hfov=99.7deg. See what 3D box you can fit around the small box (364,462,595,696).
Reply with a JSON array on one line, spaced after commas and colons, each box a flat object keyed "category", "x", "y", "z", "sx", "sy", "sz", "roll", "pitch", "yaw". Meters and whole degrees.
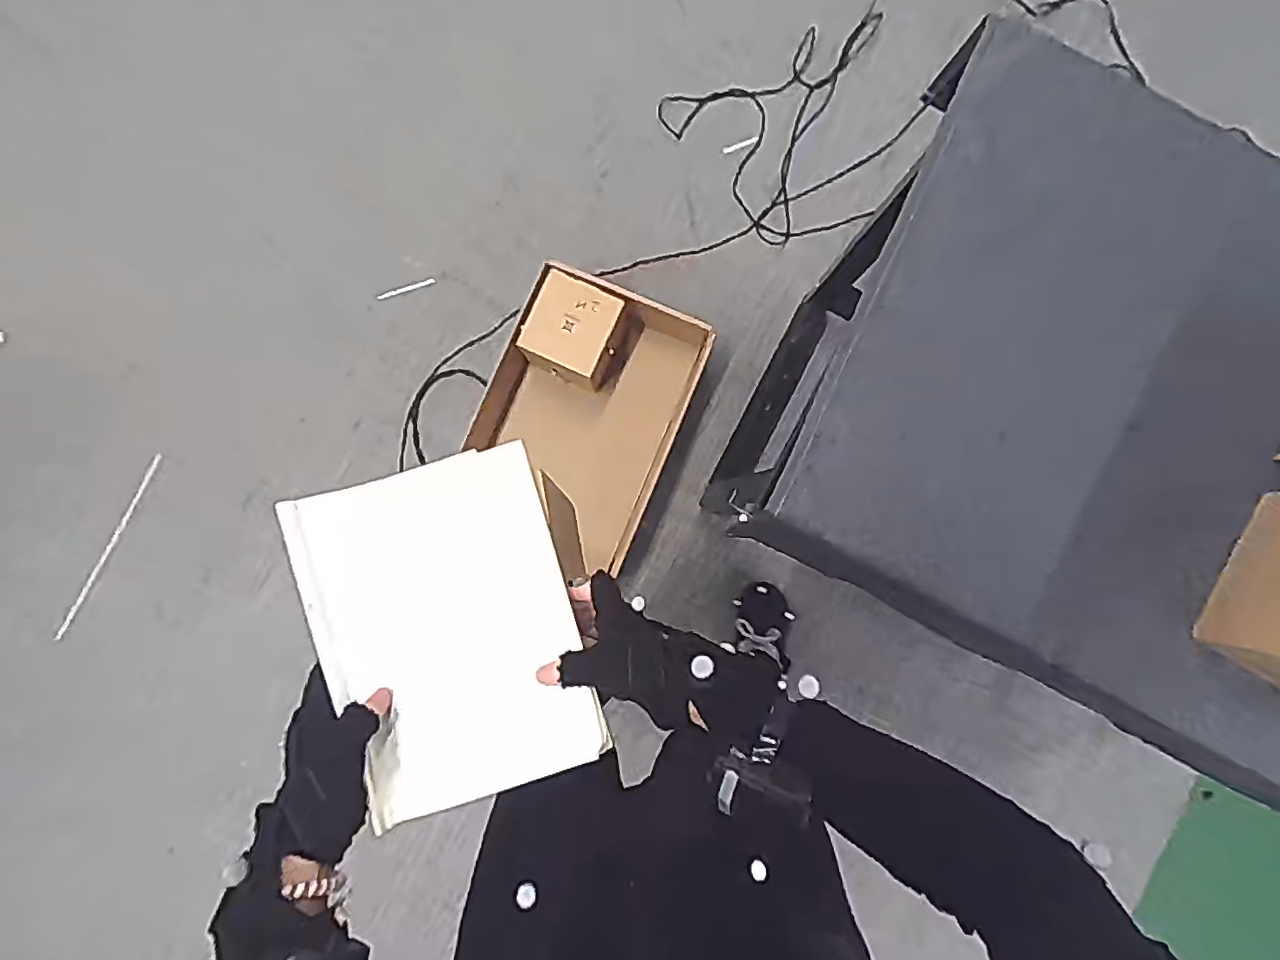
[{"category": "small box", "x": -0.145, "y": 0.097, "z": 0.538, "sx": 0.168, "sy": 0.176, "sz": 0.179, "roll": -11, "pitch": 77, "yaw": 0}]
